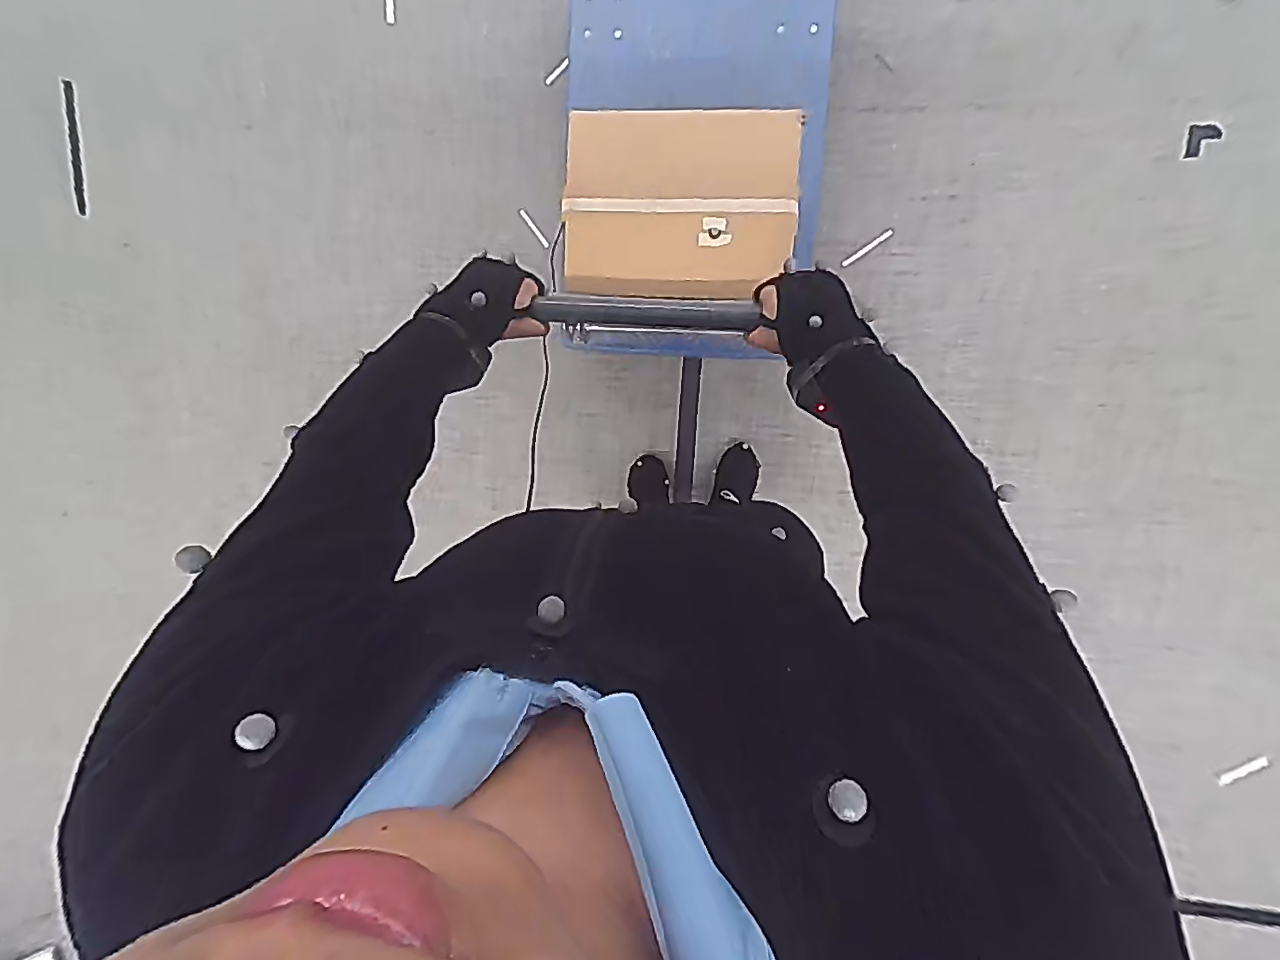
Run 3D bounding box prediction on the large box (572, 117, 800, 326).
[{"bbox_3d":[0.087,-0.497,1.111,0.408,0.320,0.320,3,98,6],"label":"large box"}]
